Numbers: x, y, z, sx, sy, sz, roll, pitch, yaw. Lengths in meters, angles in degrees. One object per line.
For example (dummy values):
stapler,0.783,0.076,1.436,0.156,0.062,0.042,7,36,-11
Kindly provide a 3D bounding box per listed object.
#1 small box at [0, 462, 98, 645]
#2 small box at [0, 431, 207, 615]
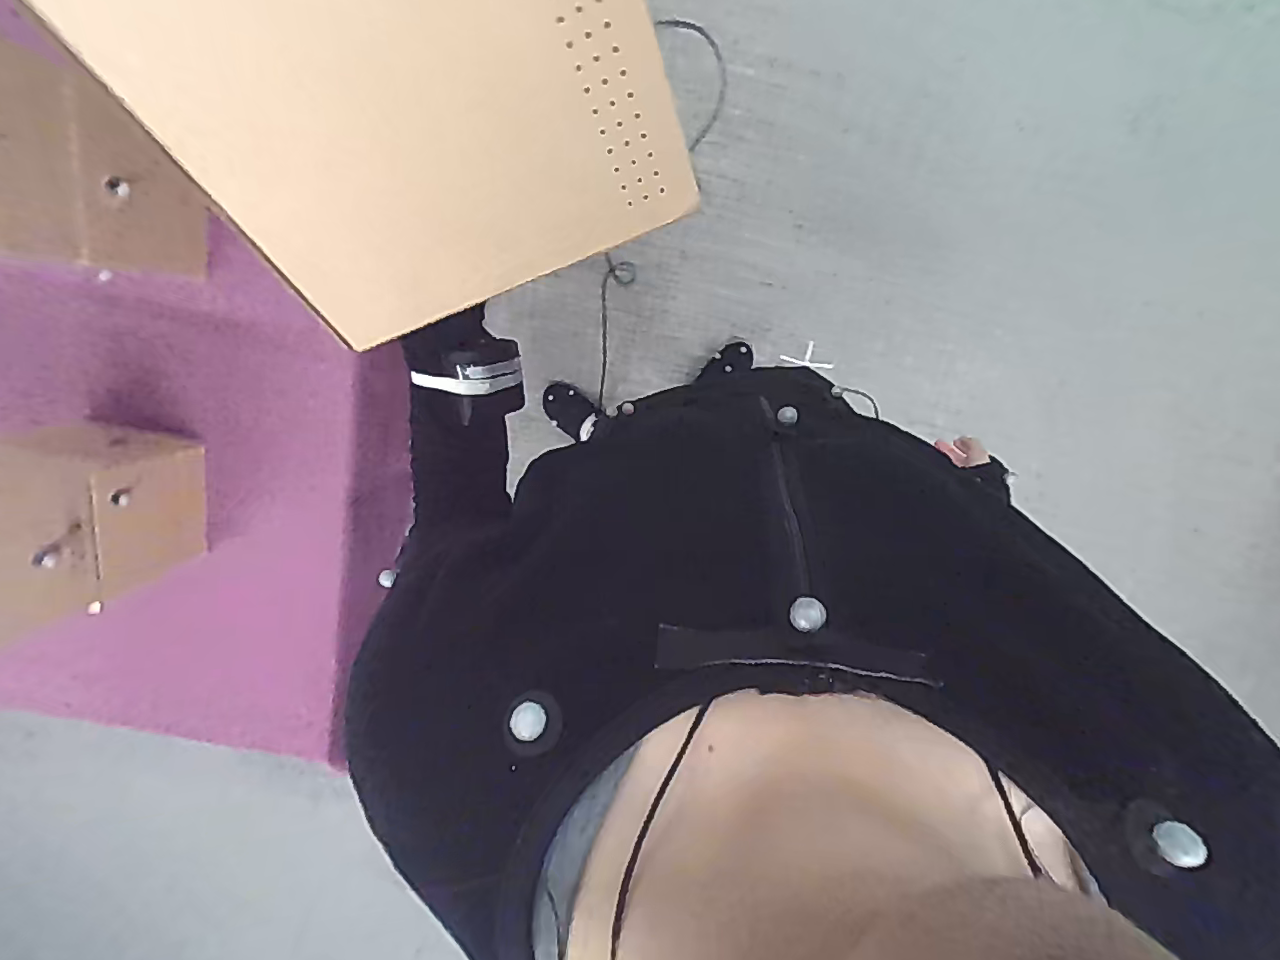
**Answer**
small box,-0.707,0.079,0.535,0.179,0.176,0.168,9,104,-1
small box,-0.702,0.046,0.697,0.168,0.176,0.179,9,103,-2
